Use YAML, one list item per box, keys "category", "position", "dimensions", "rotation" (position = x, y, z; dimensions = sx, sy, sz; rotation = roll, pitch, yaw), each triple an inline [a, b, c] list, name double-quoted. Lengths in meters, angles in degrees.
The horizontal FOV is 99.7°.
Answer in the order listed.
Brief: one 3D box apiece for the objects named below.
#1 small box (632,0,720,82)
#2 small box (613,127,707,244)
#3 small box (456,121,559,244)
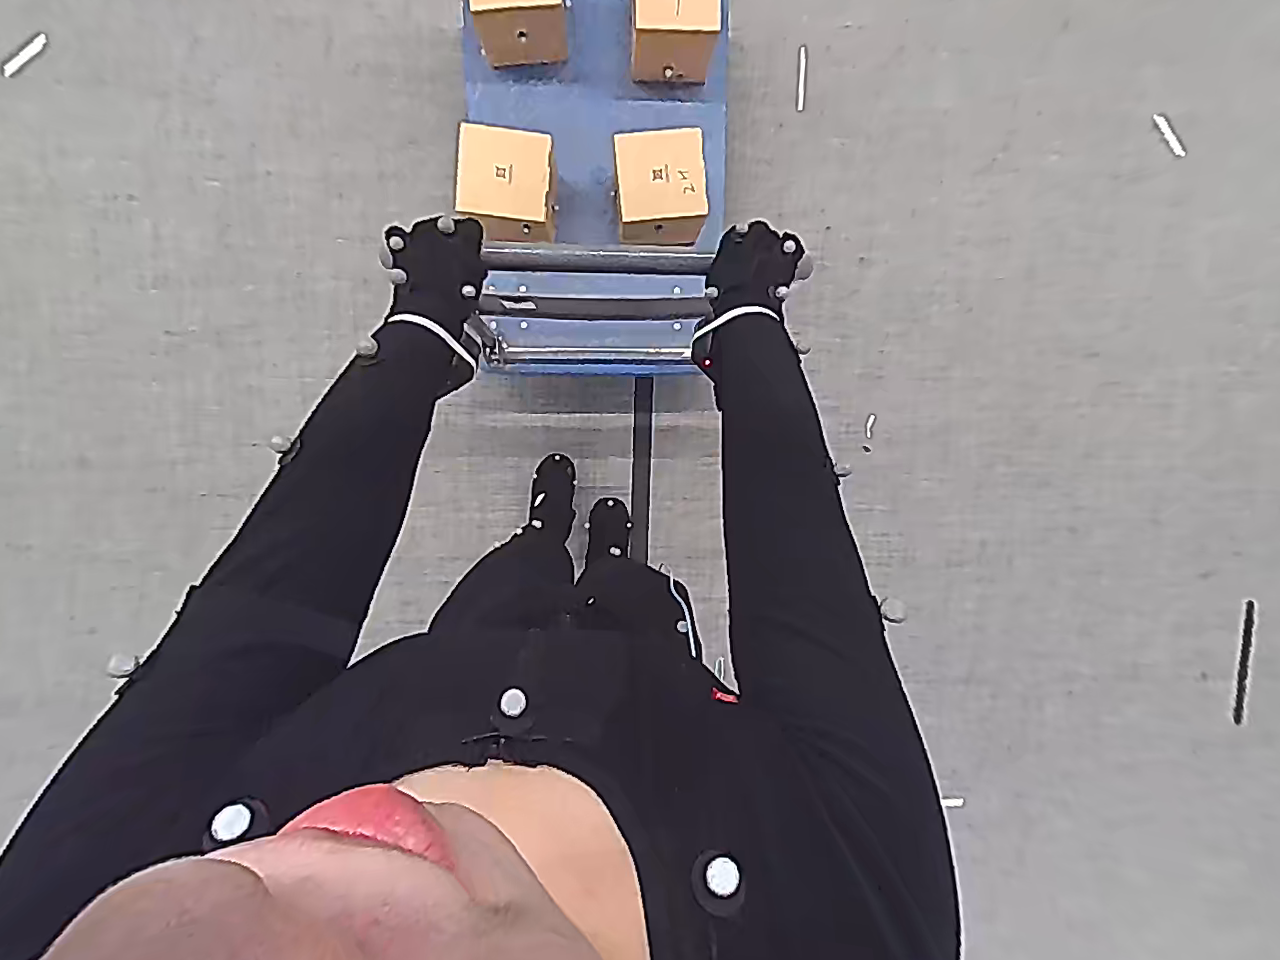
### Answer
- category: "small box"
  position: [0.068, -0.962, 1.105]
  dimensions: [0.168, 0.176, 0.179]
  rotation: [0, 98, -3]
- category: "small box"
  position: [0.037, -0.613, 1.144]
  dimensions: [0.179, 0.176, 0.168]
  rotation: [-6, 97, -2]
- category: "small box"
  position: [-0.269, -0.608, 1.127]
  dimensions: [0.179, 0.176, 0.168]
  rotation: [5, 96, -5]
